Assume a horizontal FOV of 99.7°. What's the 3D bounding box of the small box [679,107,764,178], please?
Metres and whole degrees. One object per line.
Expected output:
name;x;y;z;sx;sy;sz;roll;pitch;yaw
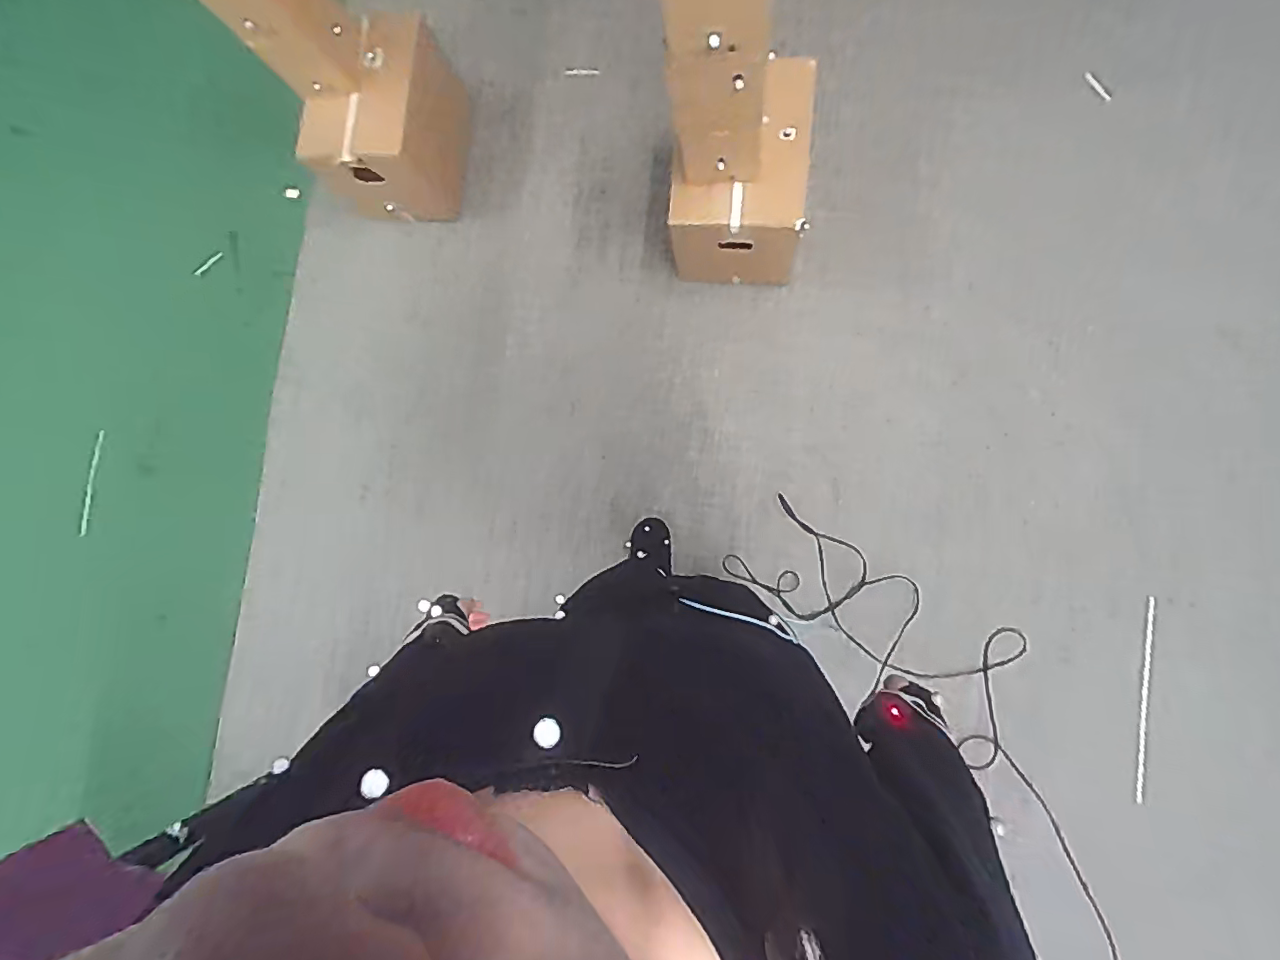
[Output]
small box;0.180;-0.777;1.164;0.168;0.176;0.179;2;87;11

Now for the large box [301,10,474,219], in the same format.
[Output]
large box;-0.715;-1.035;1.578;0.320;0.320;0.408;6;86;11

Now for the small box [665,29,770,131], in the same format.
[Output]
small box;0.148;-0.786;1.002;0.179;0.176;0.168;2;86;11

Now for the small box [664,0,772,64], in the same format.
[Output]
small box;0.121;-0.803;0.840;0.168;0.176;0.179;-1;86;11

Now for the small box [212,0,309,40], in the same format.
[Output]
small box;-0.862;-1.130;1.196;0.168;0.176;0.179;5;88;13
